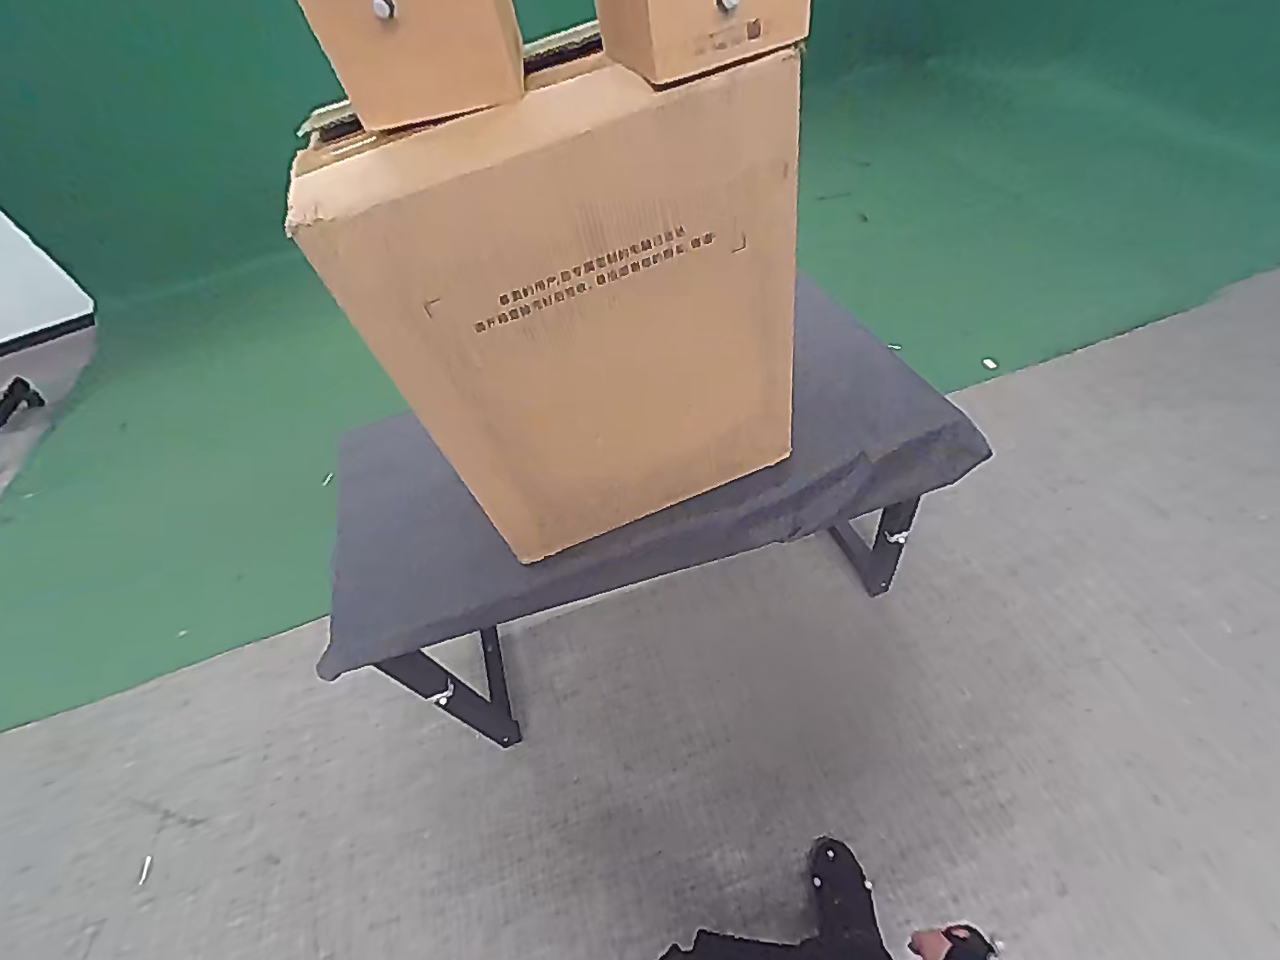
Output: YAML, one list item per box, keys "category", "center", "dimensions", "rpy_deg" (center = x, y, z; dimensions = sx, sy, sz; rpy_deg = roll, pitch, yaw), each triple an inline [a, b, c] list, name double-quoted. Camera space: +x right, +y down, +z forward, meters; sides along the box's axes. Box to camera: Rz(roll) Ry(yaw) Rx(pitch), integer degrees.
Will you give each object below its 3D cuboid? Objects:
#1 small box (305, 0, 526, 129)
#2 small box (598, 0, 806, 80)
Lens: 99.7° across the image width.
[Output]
- category: "small box"
  center: [-0.229, -0.495, 0.553]
  dimensions: [0.179, 0.176, 0.168]
  rpy_deg: [-11, 59, 4]
- category: "small box"
  center: [0.049, -0.516, 0.520]
  dimensions: [0.168, 0.176, 0.179]
  rpy_deg: [-22, 51, -5]
